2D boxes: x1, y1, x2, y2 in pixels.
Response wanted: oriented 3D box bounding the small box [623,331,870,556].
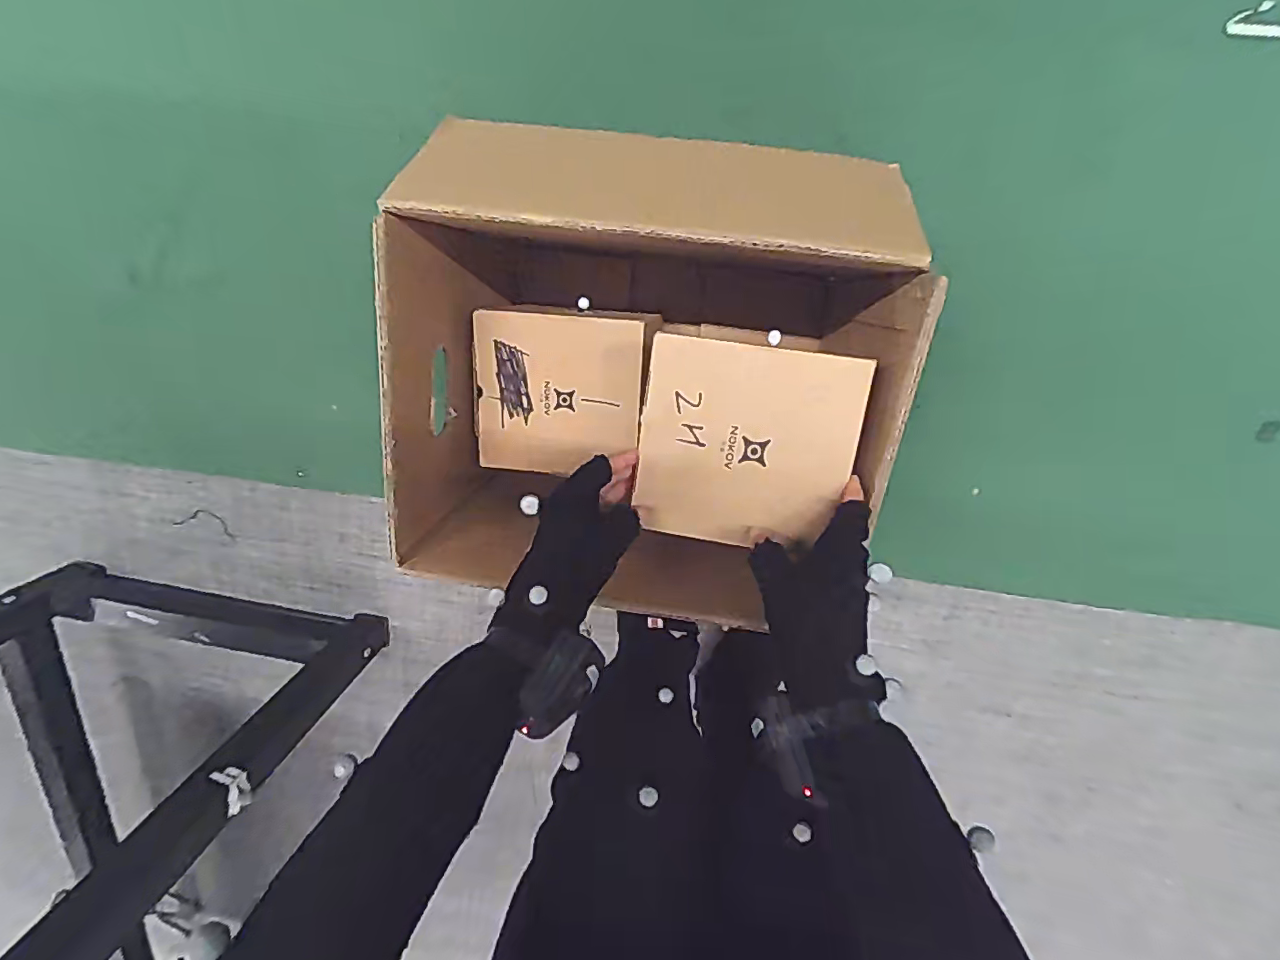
[{"bbox_3d":[0.093,-0.044,0.516,0.179,0.176,0.168,9,102,8],"label":"small box"}]
